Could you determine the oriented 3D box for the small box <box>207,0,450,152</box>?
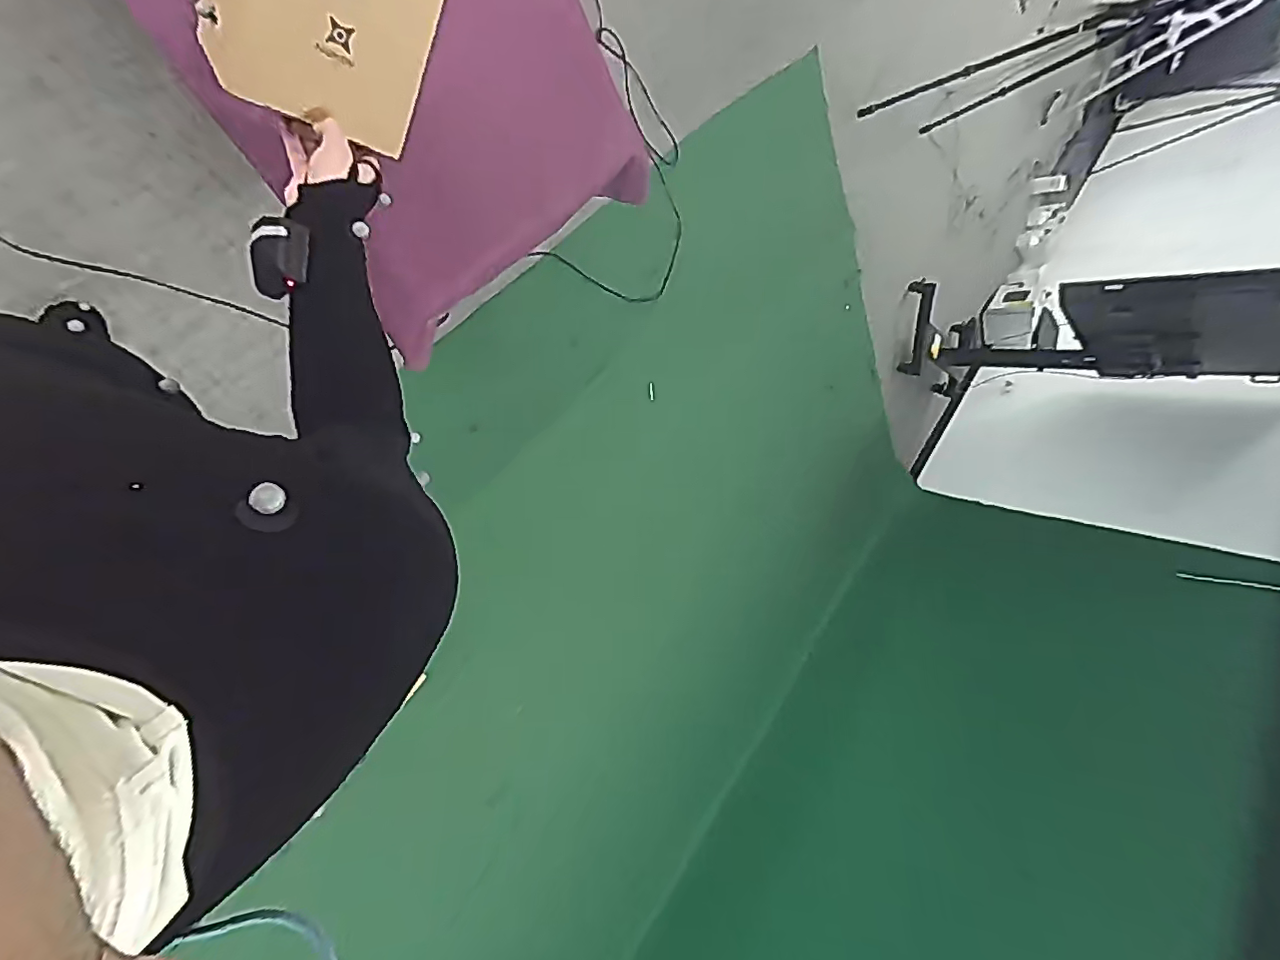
[{"bbox_3d":[-0.327,-0.493,0.560,0.168,0.176,0.179,-3,137,-48],"label":"small box"}]
